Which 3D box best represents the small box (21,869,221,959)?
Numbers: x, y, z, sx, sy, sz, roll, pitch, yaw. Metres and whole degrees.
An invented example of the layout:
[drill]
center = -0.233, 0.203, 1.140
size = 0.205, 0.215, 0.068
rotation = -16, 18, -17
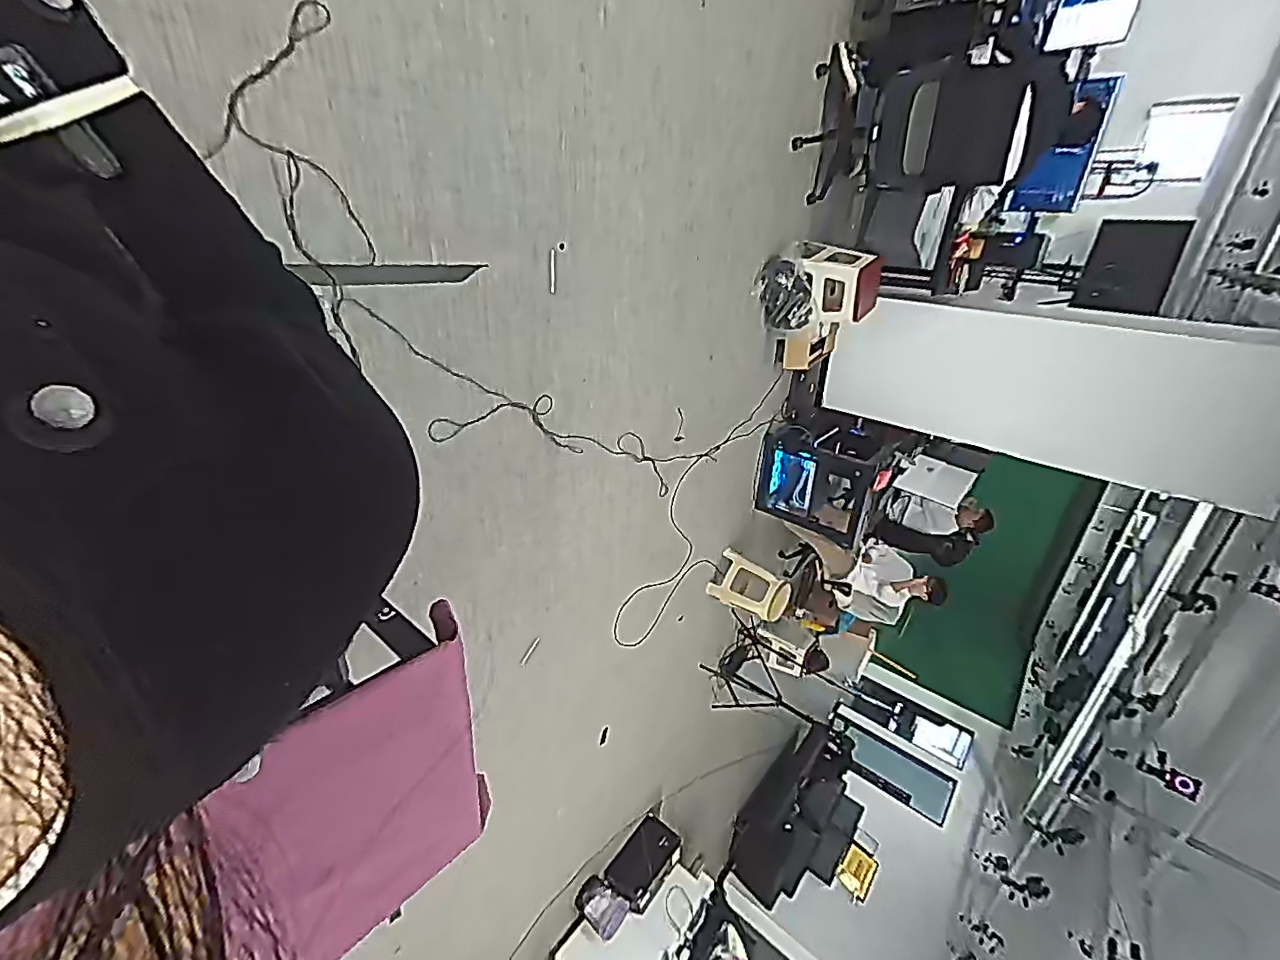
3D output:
[small box]
center = -0.665, 0.673, 0.713
size = 0.168, 0.176, 0.179
rotation = -23, 127, -47
